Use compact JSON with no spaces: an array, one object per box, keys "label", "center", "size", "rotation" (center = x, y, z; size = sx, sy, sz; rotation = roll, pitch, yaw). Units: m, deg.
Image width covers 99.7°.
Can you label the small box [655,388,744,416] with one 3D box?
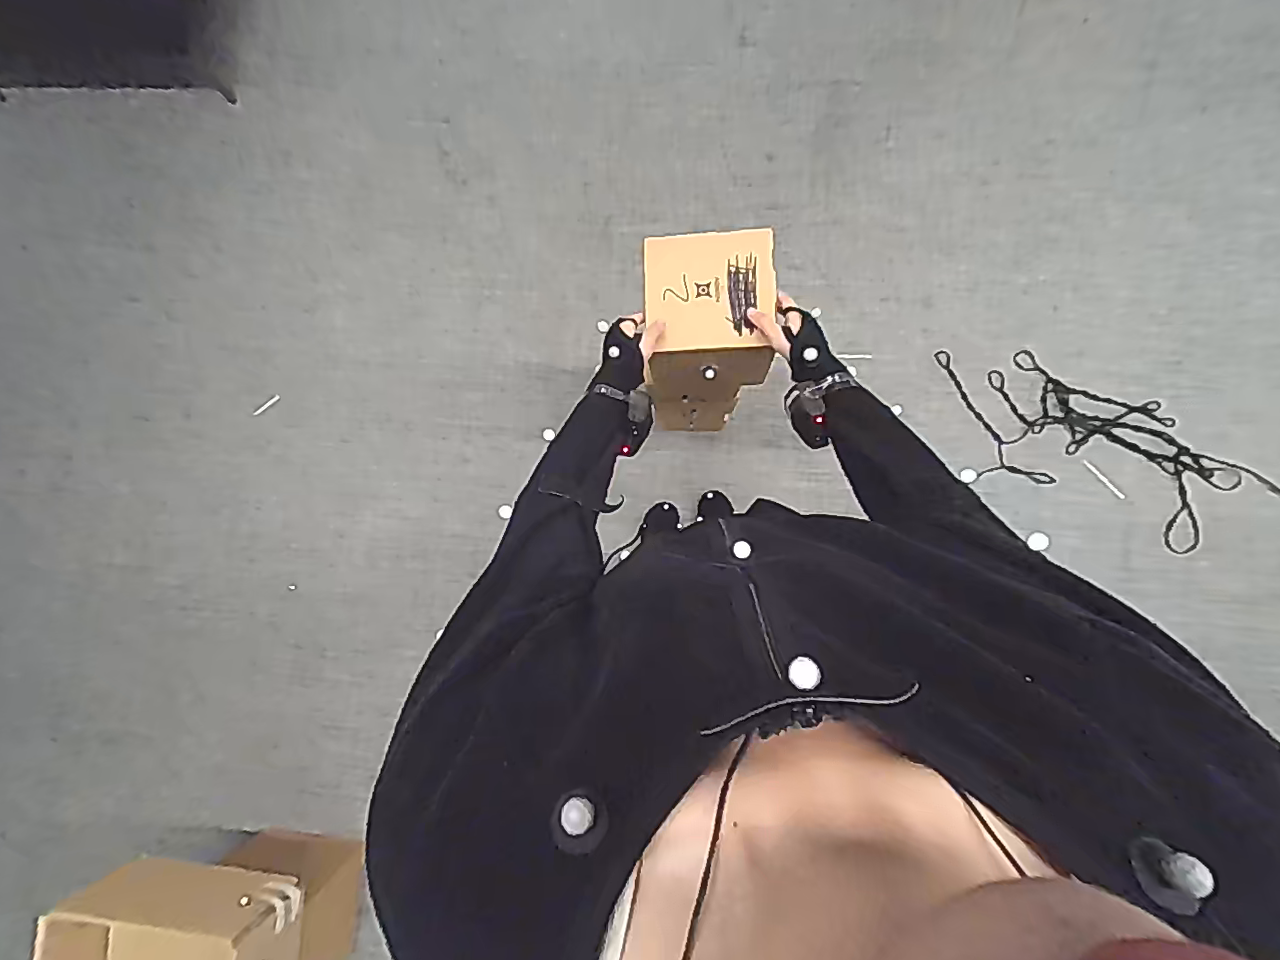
[{"label":"small box","center":[0.122,-0.231,1.138],"size":[0.179,0.176,0.168],"rotation":[1,86,5]}]

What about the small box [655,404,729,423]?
[{"label":"small box","center":[0.132,-0.234,1.302],"size":[0.179,0.176,0.168],"rotation":[3,87,5]}]

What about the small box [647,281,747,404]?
[{"label":"small box","center":[0.101,-0.240,0.976],"size":[0.168,0.176,0.179],"rotation":[0,87,6]}]

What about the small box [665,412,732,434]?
[{"label":"small box","center":[0.157,-0.220,1.463],"size":[0.179,0.176,0.168],"rotation":[2,86,5]}]
